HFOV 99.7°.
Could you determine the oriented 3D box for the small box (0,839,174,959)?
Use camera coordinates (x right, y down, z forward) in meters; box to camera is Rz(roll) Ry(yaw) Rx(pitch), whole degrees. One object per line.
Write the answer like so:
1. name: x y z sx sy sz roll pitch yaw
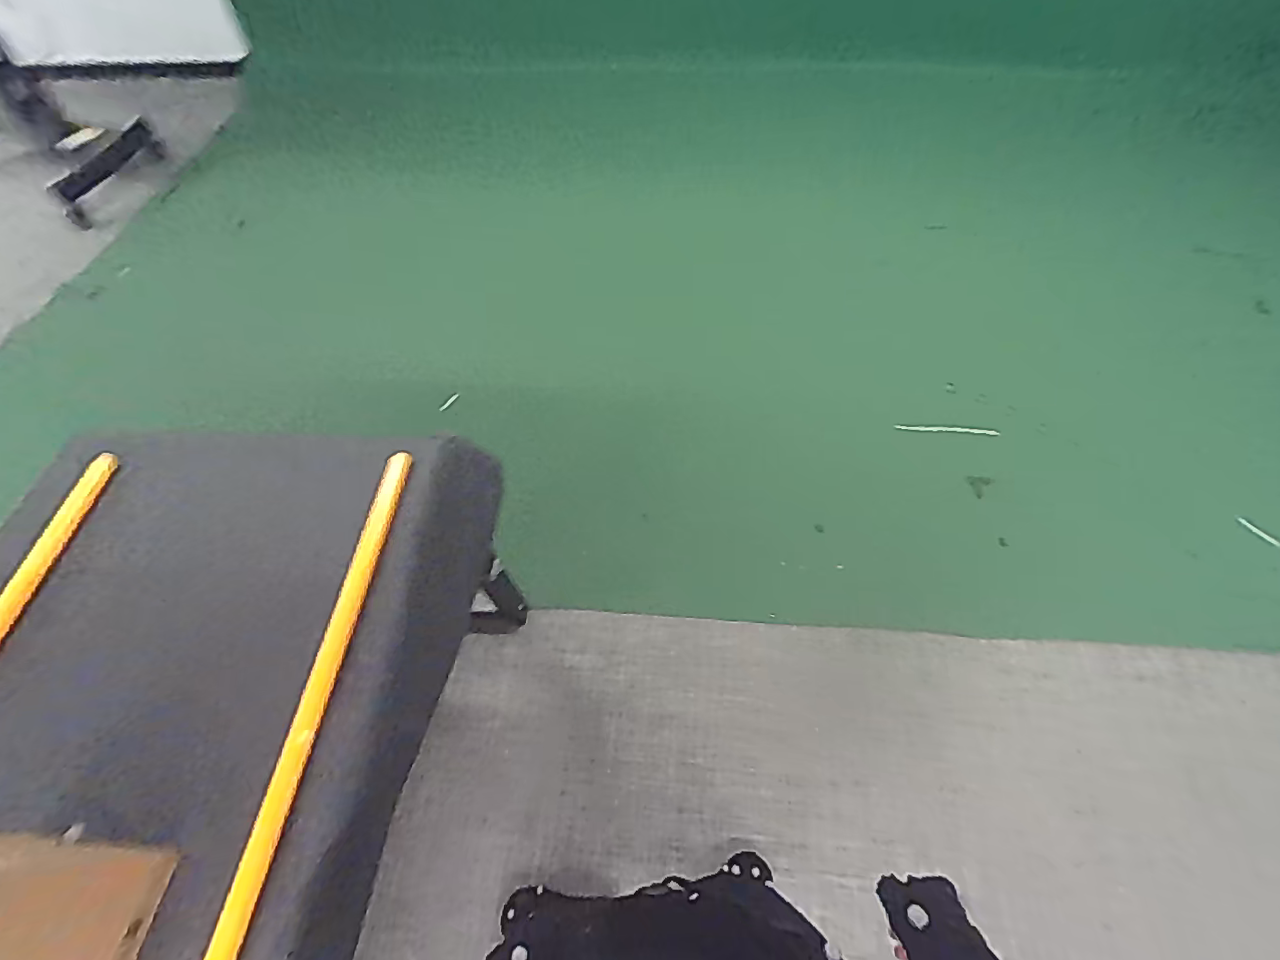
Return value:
1. small box: -0.576 0.413 0.463 0.179 0.176 0.168 2 59 4
